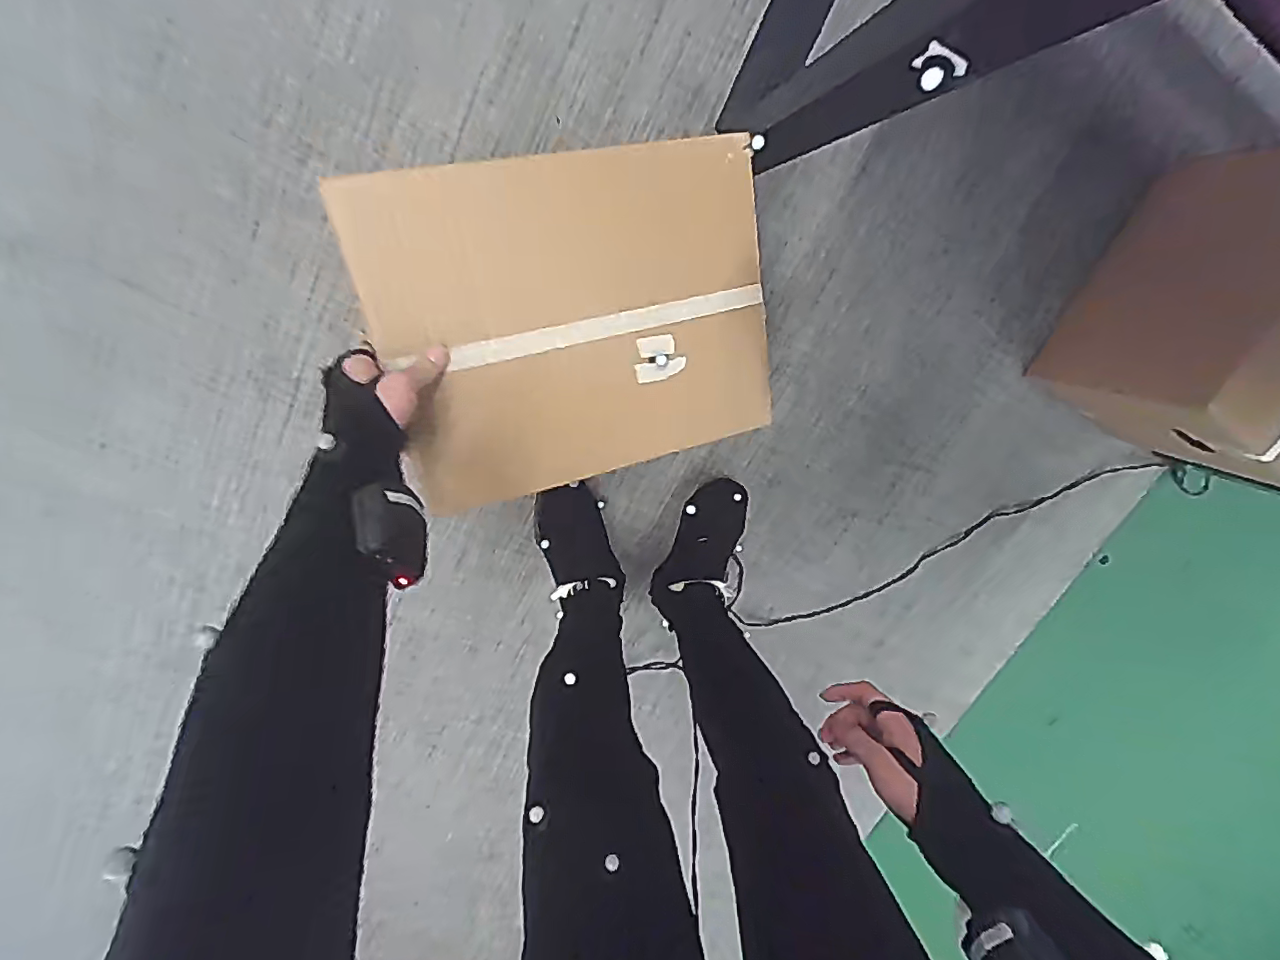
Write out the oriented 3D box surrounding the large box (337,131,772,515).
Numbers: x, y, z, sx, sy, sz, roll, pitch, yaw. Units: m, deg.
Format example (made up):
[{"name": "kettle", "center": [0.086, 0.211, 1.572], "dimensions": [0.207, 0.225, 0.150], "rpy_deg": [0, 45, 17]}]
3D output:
[{"name": "large box", "center": [-0.101, -0.201, 0.686], "dimensions": [0.408, 0.320, 0.320], "rpy_deg": [-18, 114, -17]}]
